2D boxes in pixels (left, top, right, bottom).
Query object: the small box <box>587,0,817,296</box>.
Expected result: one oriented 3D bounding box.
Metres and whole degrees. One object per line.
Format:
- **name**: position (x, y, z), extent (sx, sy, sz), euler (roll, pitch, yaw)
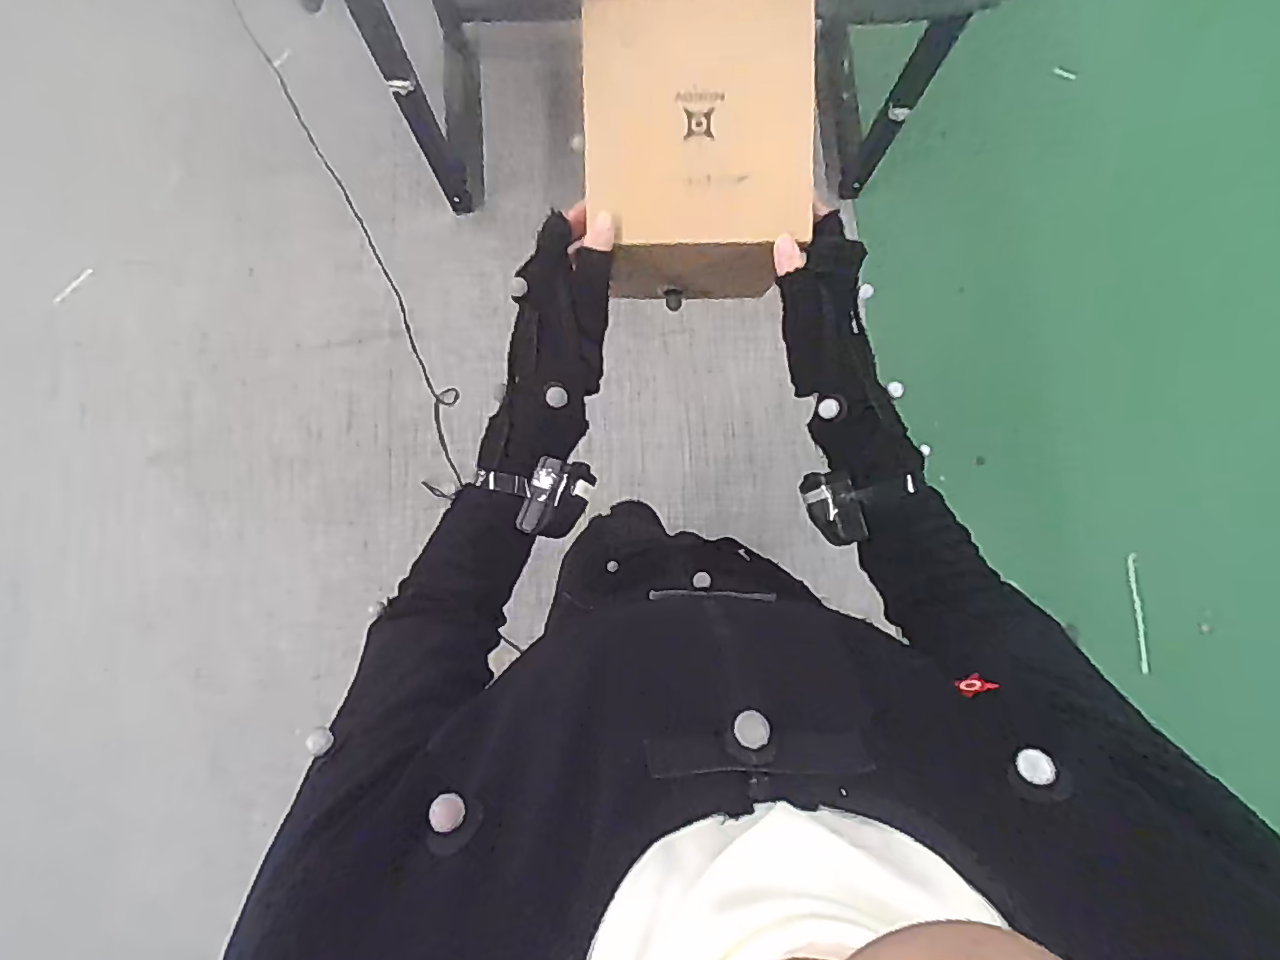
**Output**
- **small box**: position (0.044, -0.269, 0.465), extent (0.168, 0.176, 0.179), euler (0, 96, 2)
